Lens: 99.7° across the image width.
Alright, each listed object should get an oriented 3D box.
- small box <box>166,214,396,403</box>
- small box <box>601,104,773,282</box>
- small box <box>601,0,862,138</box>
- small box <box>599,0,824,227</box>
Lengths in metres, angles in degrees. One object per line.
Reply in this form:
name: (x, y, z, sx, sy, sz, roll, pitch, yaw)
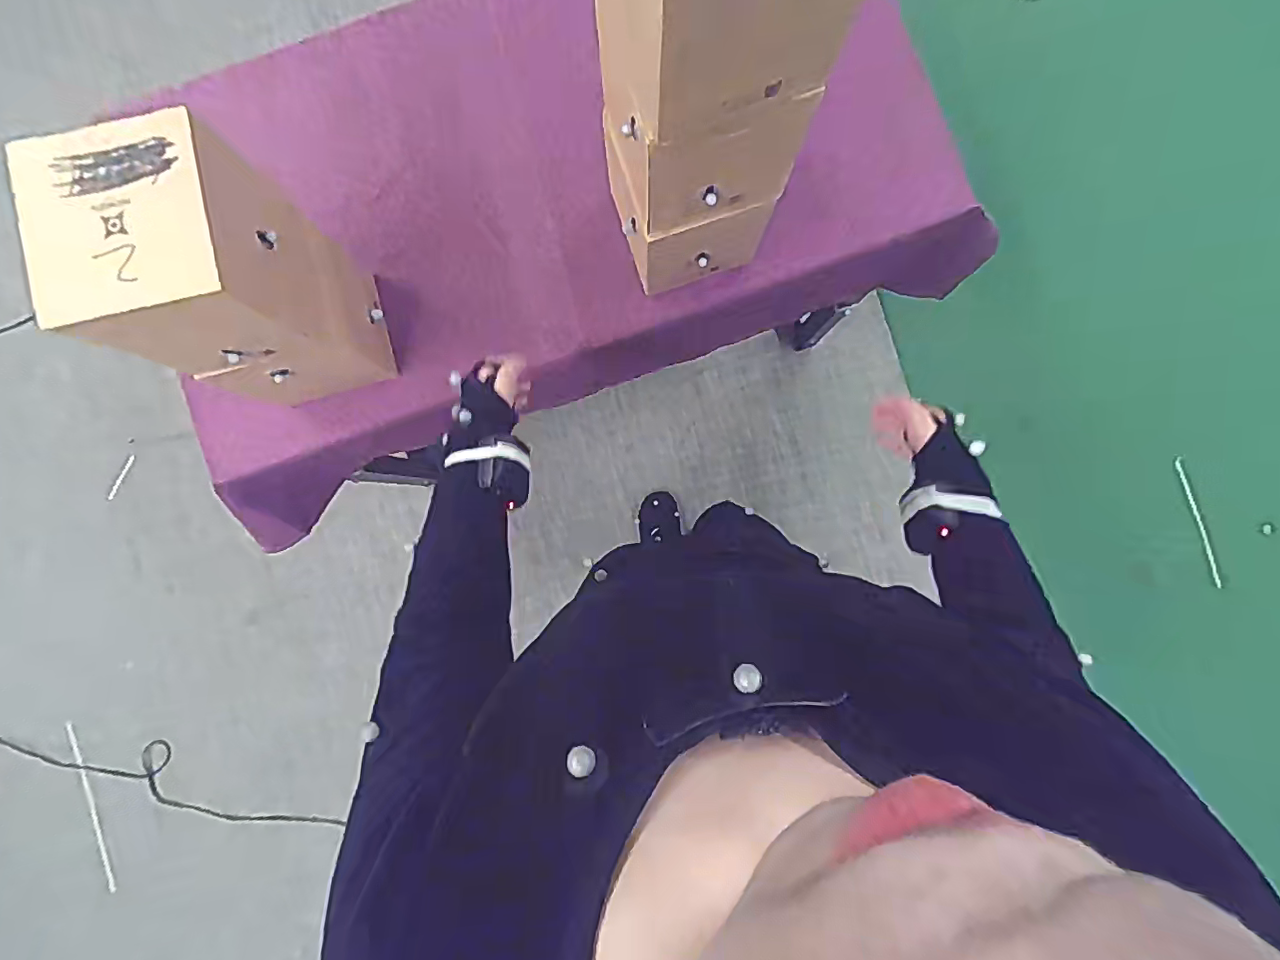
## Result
small box: (-0.460, -0.212, 0.719, 0.179, 0.176, 0.168, -16, 88, -1)
small box: (0.058, -0.386, 0.719, 0.168, 0.176, 0.179, -19, 87, 0)
small box: (0.058, -0.403, 0.392, 0.168, 0.176, 0.179, -22, 88, 0)
small box: (0.059, -0.401, 0.557, 0.168, 0.176, 0.179, -18, 89, 0)
